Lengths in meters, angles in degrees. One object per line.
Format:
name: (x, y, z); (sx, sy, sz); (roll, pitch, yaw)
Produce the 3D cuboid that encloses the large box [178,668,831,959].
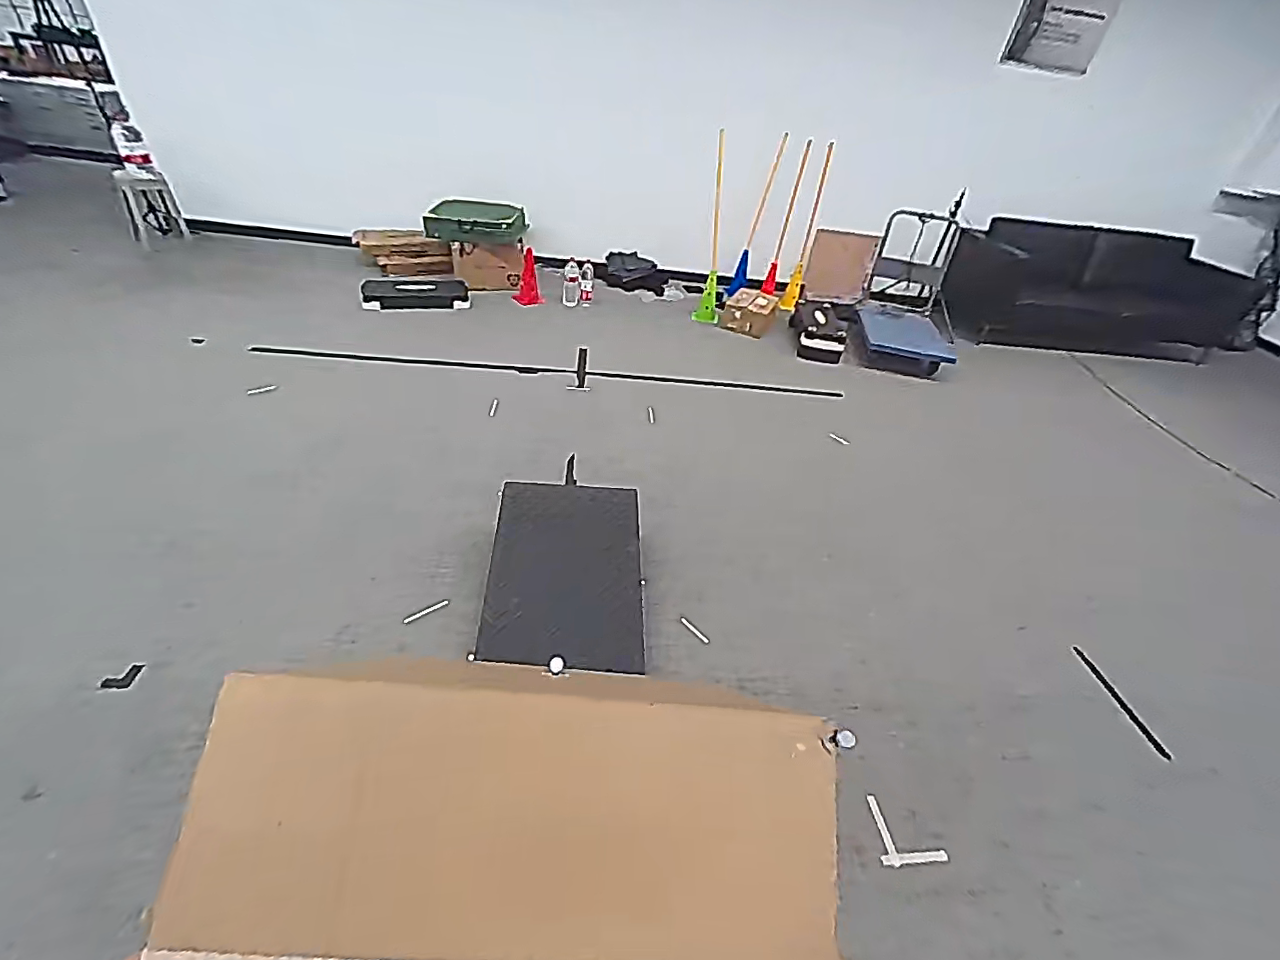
large box: (-0.092, 0.341, 0.472); (0.408, 0.320, 0.320); (6, 75, -5)
